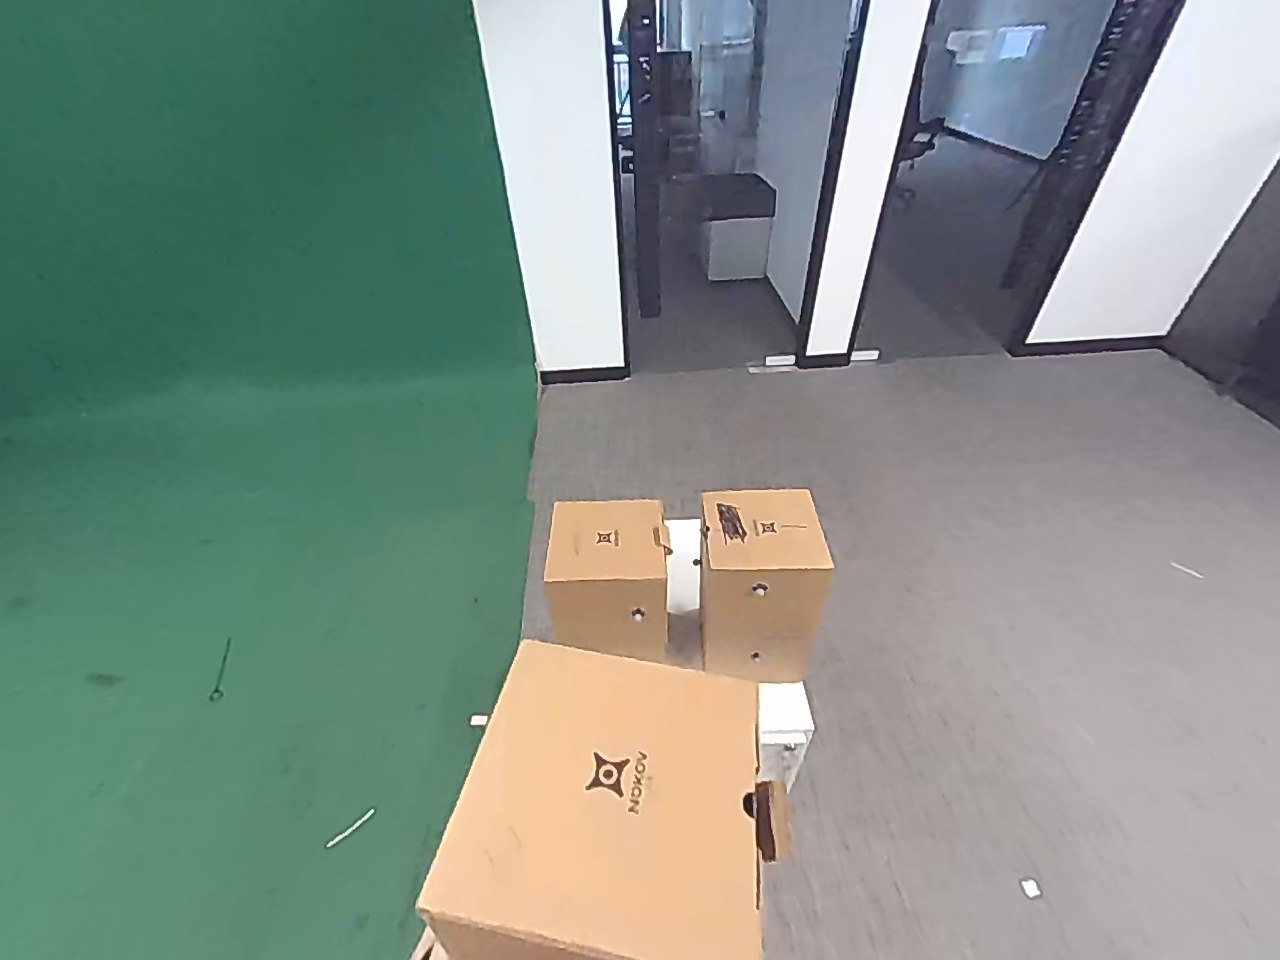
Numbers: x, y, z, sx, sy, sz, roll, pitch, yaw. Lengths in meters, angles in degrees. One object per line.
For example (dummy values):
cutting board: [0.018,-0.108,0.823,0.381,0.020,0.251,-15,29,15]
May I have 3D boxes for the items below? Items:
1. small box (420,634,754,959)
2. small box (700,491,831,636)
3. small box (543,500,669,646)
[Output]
small box: [-0.022,0.238,0.380,0.179,0.176,0.168,9,38,4]
small box: [0.187,0.134,0.864,0.179,0.176,0.168,-1,41,2]
small box: [-0.048,0.149,0.859,0.179,0.176,0.168,-2,40,0]
